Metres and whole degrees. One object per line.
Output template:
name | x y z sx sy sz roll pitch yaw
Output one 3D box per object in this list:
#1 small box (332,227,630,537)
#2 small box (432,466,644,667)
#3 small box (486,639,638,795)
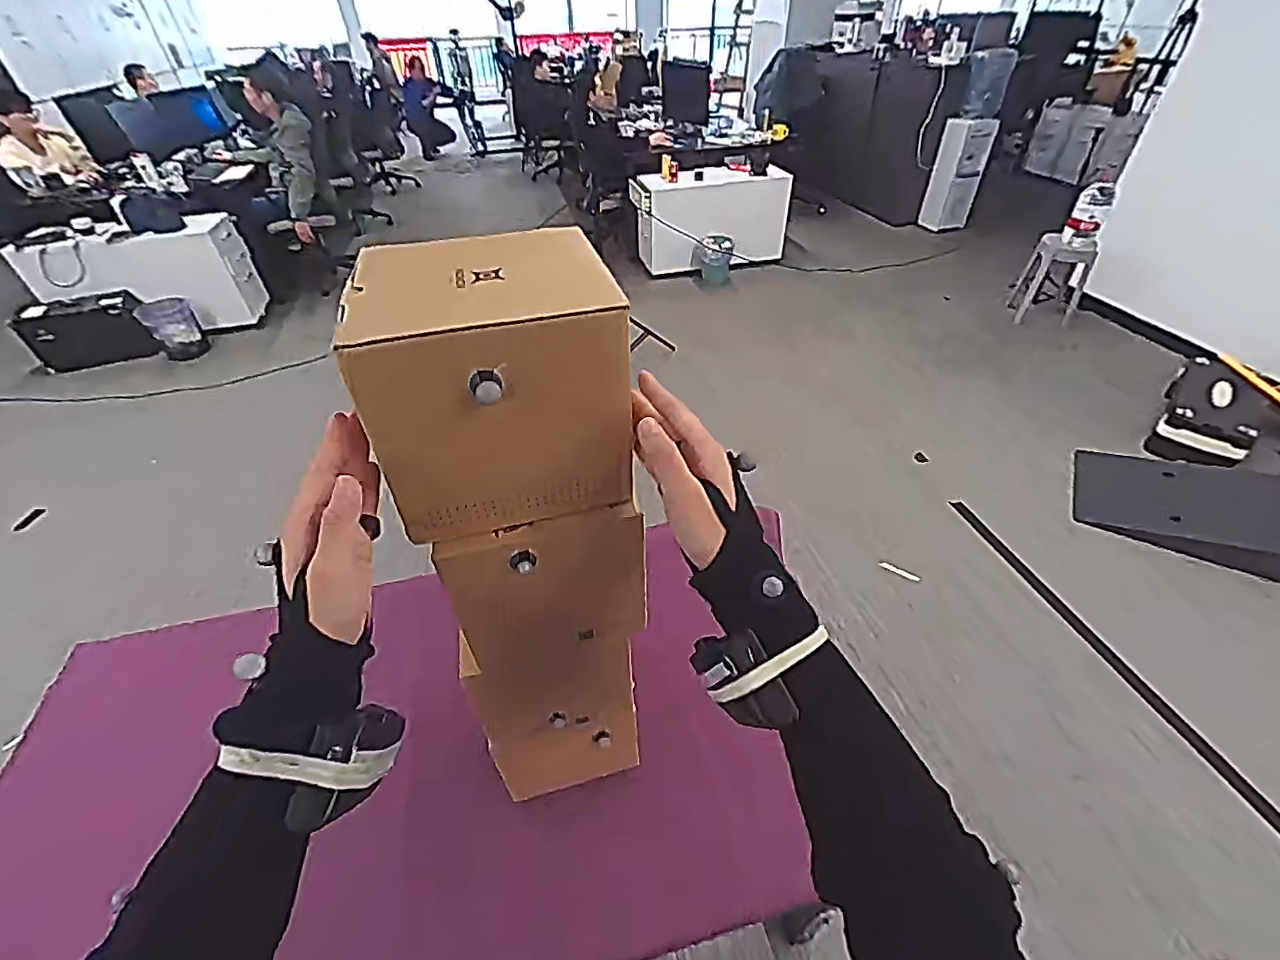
small box | -0.110 -0.080 0.430 0.179 0.176 0.168 -12 43 -11
small box | -0.096 0.049 0.530 0.168 0.176 0.179 -12 42 -11
small box | -0.105 0.298 0.743 0.179 0.176 0.168 -12 42 -10
